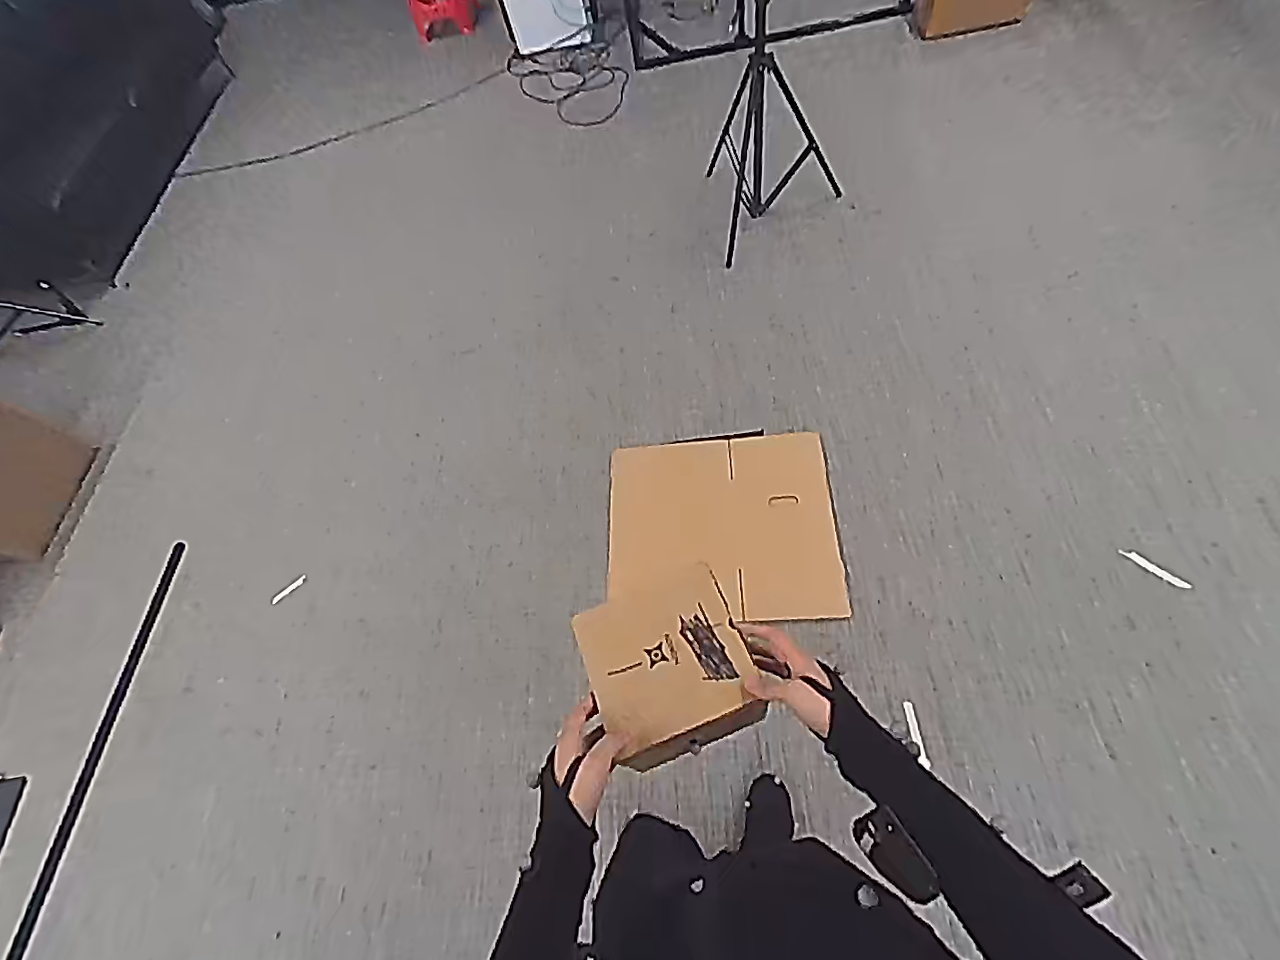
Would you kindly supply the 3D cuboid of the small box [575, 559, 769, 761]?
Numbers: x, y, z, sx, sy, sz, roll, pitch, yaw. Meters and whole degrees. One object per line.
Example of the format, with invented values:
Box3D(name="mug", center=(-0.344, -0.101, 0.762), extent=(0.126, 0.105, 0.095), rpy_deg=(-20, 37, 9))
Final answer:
Box3D(name="small box", center=(0.041, 0.227, 0.666), extent=(0.179, 0.176, 0.168), rpy_deg=(-22, 57, -2))
